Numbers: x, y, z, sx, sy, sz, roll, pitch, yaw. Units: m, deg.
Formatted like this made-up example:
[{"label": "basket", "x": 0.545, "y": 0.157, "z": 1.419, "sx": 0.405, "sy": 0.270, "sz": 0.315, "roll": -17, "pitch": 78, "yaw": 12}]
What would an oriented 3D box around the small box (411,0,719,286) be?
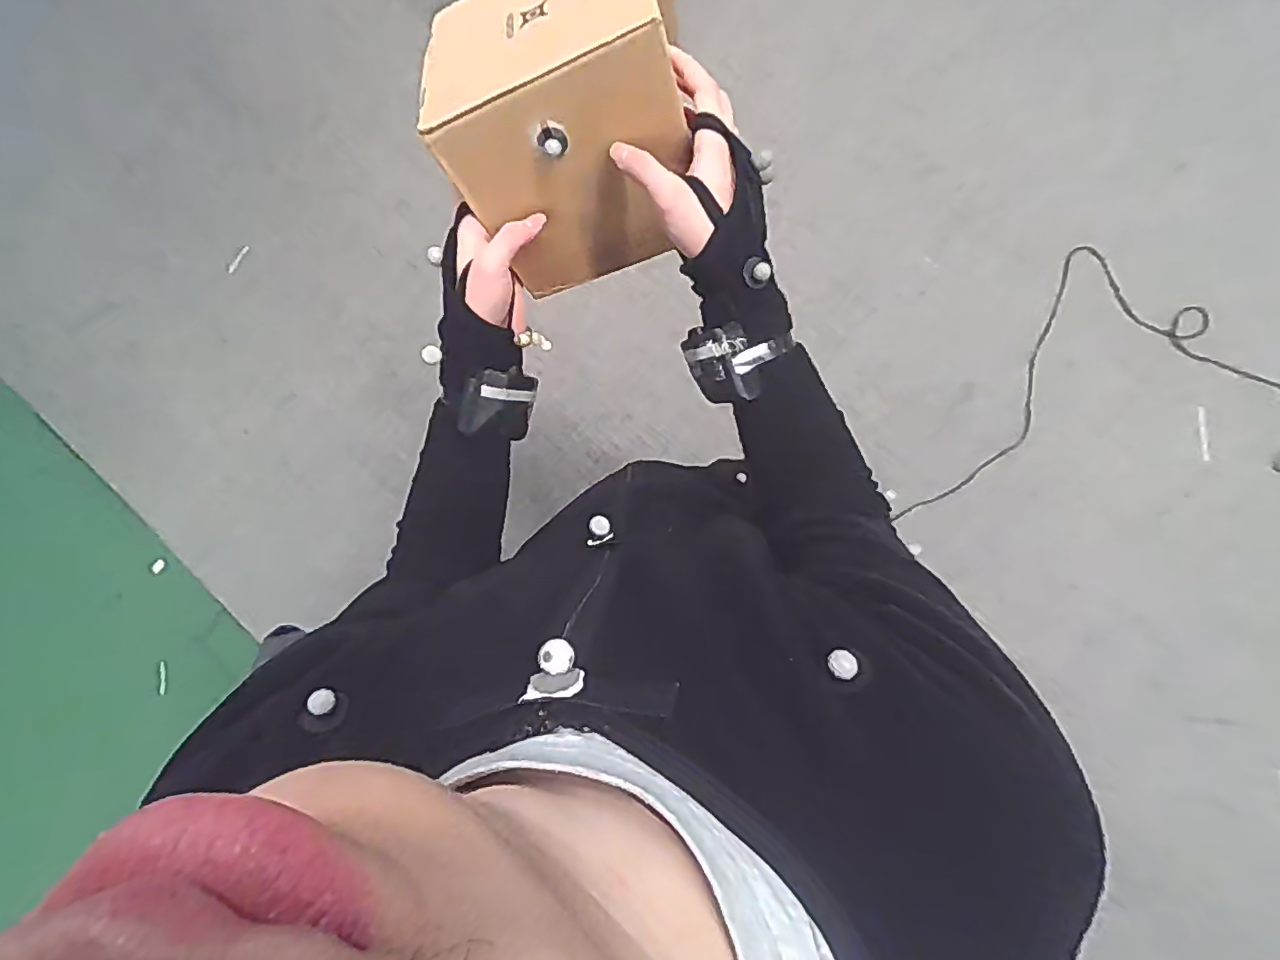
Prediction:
[{"label": "small box", "x": -0.049, "y": -0.287, "z": 0.430, "sx": 0.179, "sy": 0.176, "sz": 0.168, "roll": -15, "pitch": 62, "yaw": 12}]
